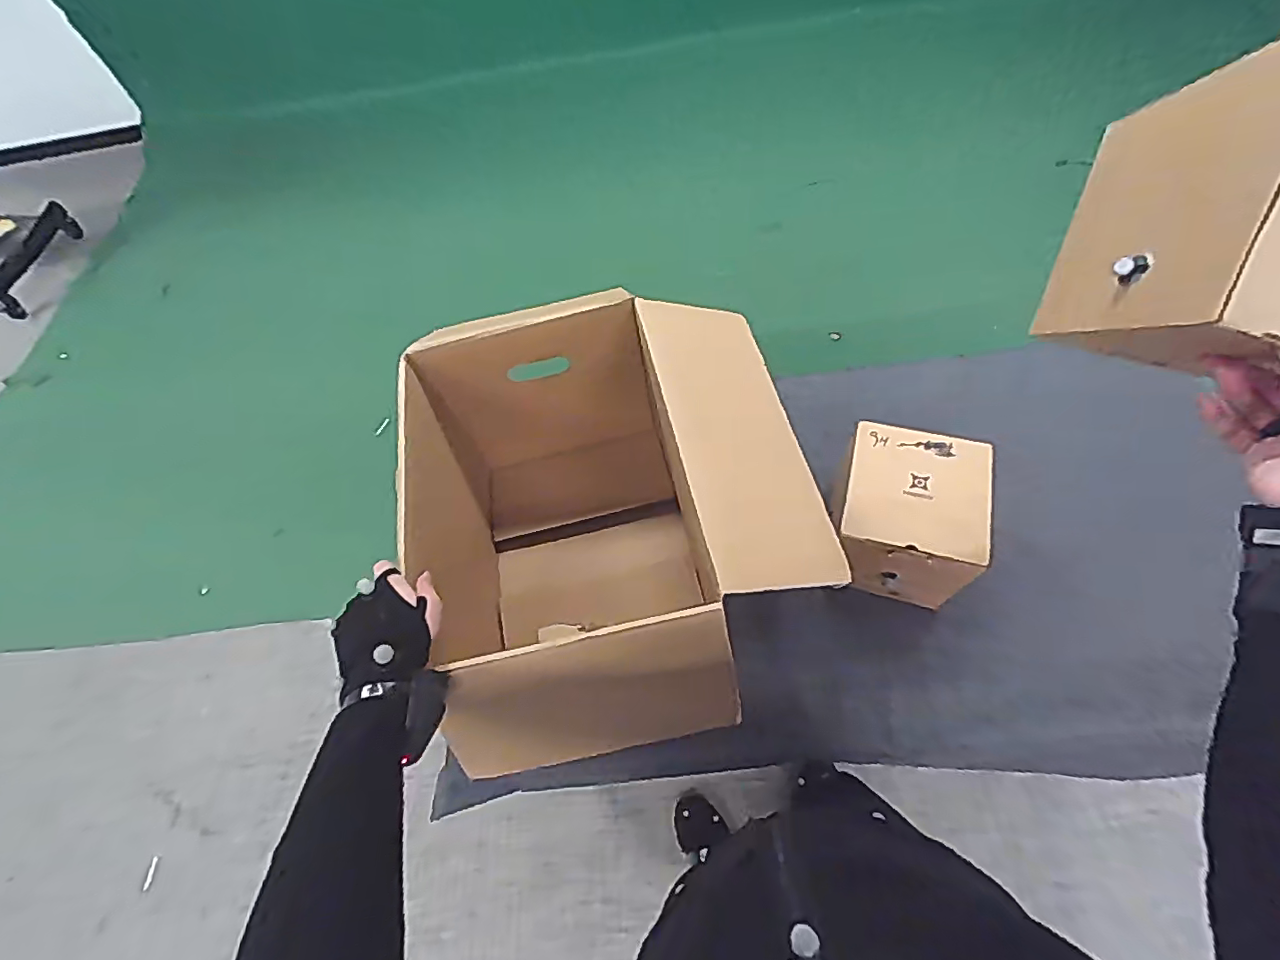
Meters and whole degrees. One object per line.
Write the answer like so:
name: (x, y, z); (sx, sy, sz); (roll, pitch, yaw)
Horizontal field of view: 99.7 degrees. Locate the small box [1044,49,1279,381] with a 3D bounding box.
small box: (0.451, -0.173, 0.398); (0.168, 0.176, 0.179); (13, 101, -2)
